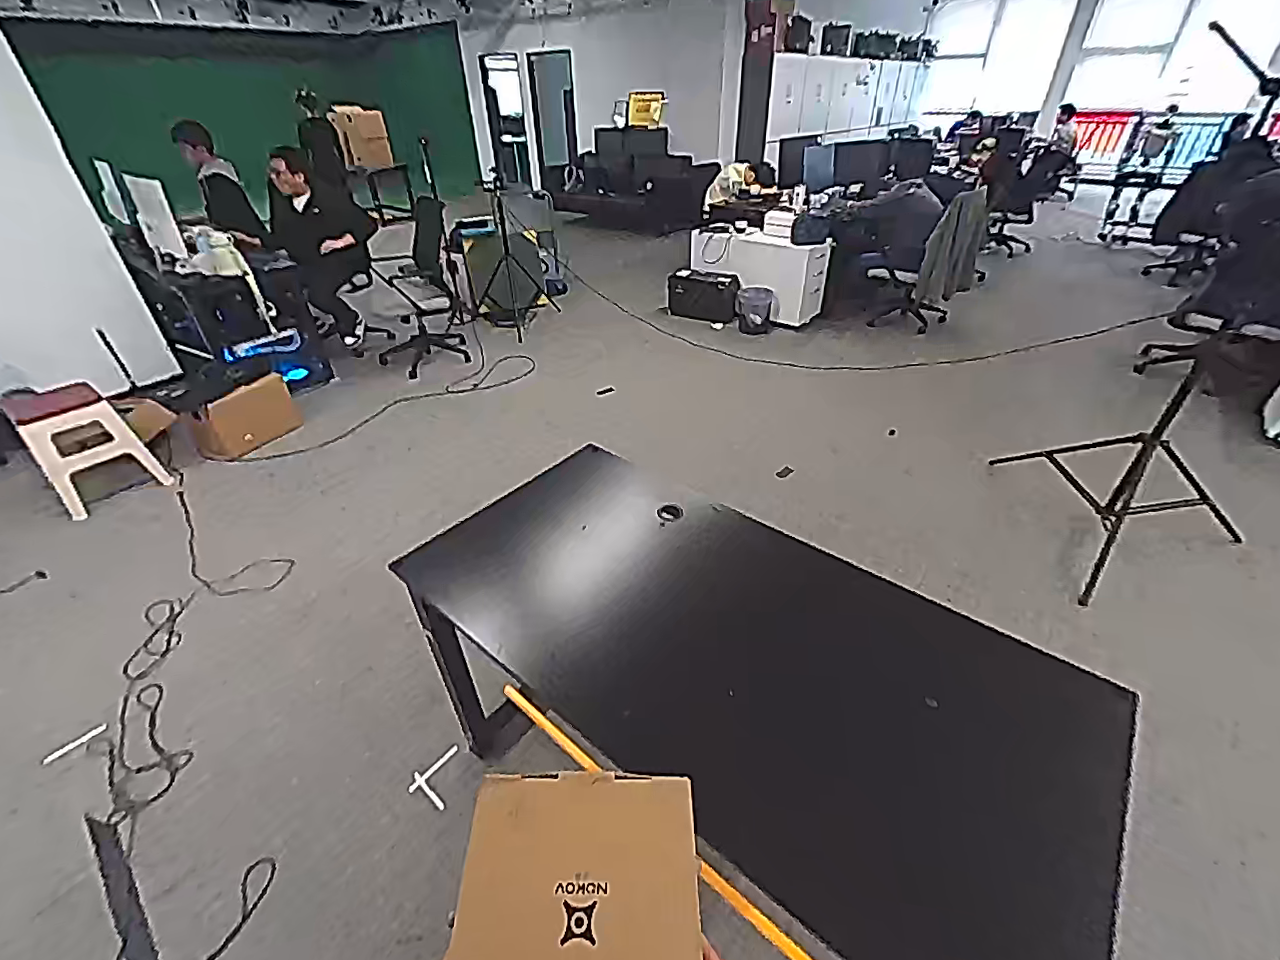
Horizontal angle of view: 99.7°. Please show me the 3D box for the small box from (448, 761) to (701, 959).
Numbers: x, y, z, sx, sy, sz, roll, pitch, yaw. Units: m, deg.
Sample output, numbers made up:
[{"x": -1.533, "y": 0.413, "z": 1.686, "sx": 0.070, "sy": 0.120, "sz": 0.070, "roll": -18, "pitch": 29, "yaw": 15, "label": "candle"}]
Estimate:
[{"x": -0.047, "y": 0.345, "z": 0.426, "sx": 0.168, "sy": 0.176, "sz": 0.179, "roll": 2, "pitch": 43, "yaw": -3, "label": "small box"}]
